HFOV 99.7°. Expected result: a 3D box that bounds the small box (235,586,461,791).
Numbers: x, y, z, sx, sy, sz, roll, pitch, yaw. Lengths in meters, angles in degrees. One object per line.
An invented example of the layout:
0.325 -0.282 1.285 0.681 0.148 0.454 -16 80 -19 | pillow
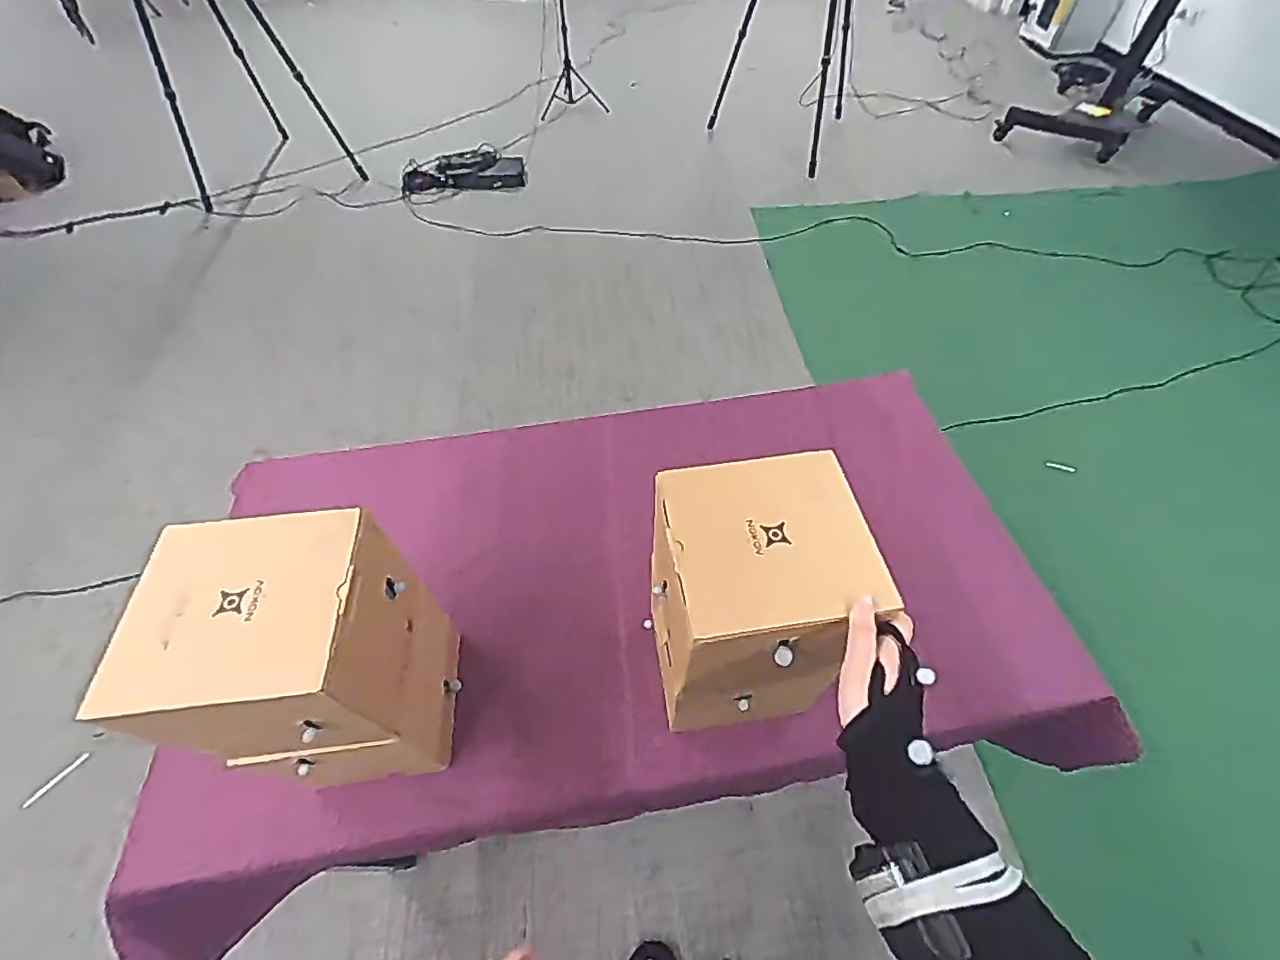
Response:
-0.319 0.248 0.639 0.168 0.176 0.179 -7 53 -3 | small box

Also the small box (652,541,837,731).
0.113 0.196 0.665 0.179 0.176 0.168 -7 54 -4 | small box

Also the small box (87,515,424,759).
-0.322 0.151 0.506 0.179 0.176 0.168 -6 54 -2 | small box
